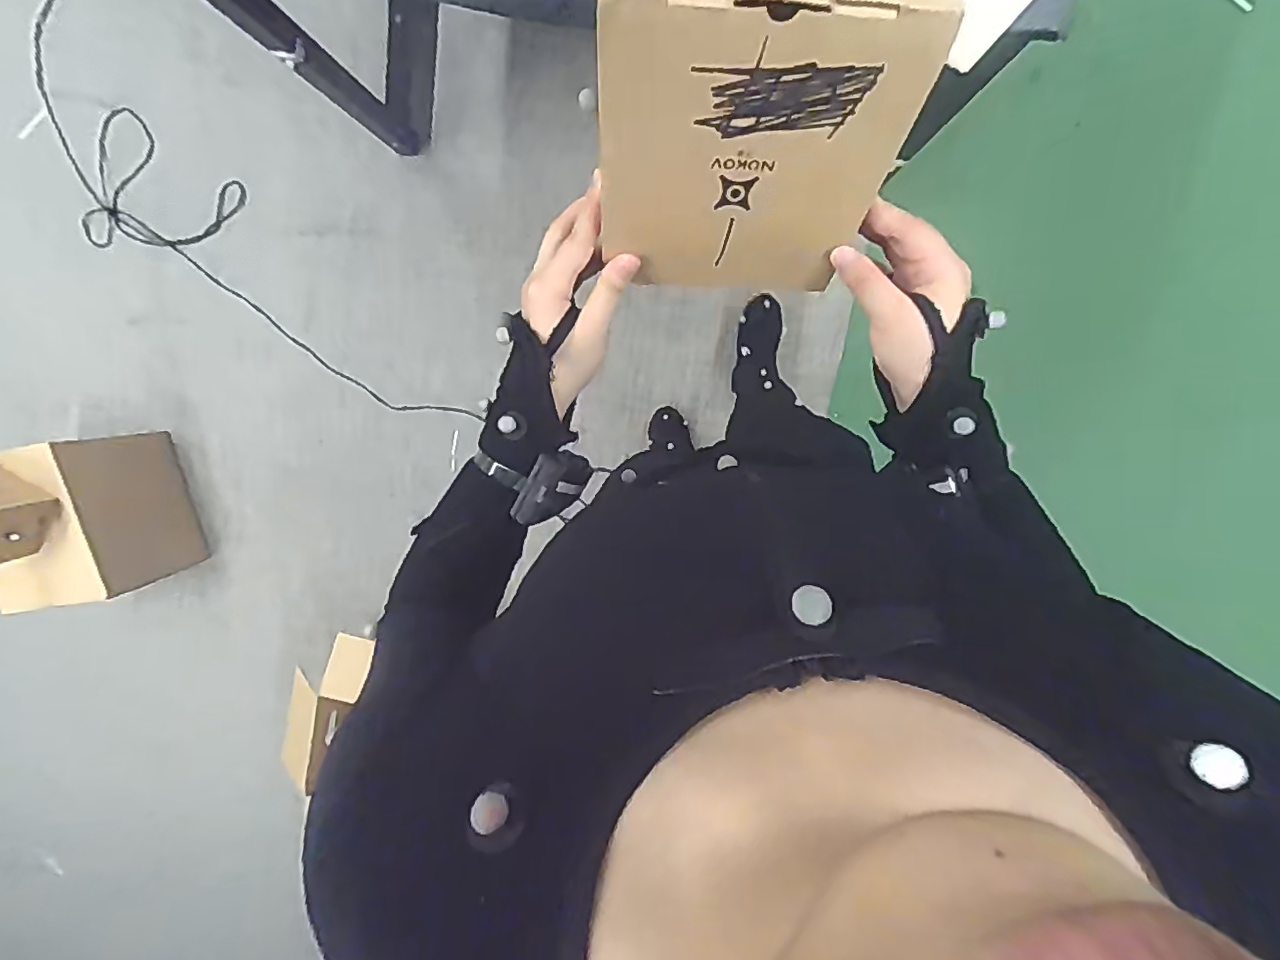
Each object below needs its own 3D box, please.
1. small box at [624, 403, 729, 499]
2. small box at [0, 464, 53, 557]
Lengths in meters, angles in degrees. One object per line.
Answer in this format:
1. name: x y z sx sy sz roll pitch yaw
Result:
1. small box: 0.100 -0.076 1.372 0.176 0.168 0.179 37 78 -31
2. small box: -1.509 0.072 1.222 0.179 0.176 0.168 30 101 -4
